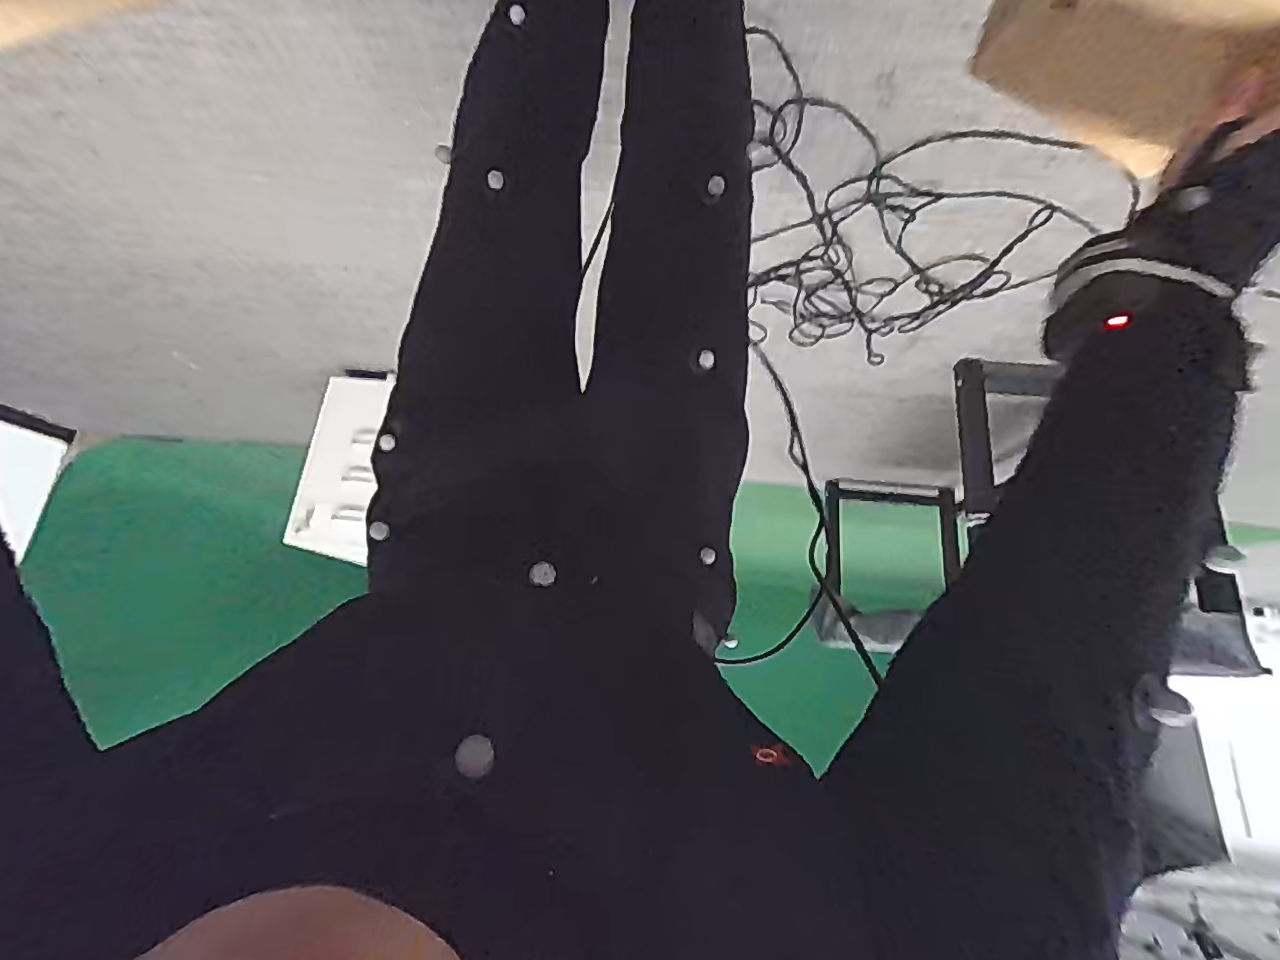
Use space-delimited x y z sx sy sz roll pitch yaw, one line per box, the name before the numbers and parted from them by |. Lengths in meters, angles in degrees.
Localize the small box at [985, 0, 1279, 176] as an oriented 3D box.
small box | 0.378 -0.365 0.367 0.176 0.179 0.168 27 160 -4
